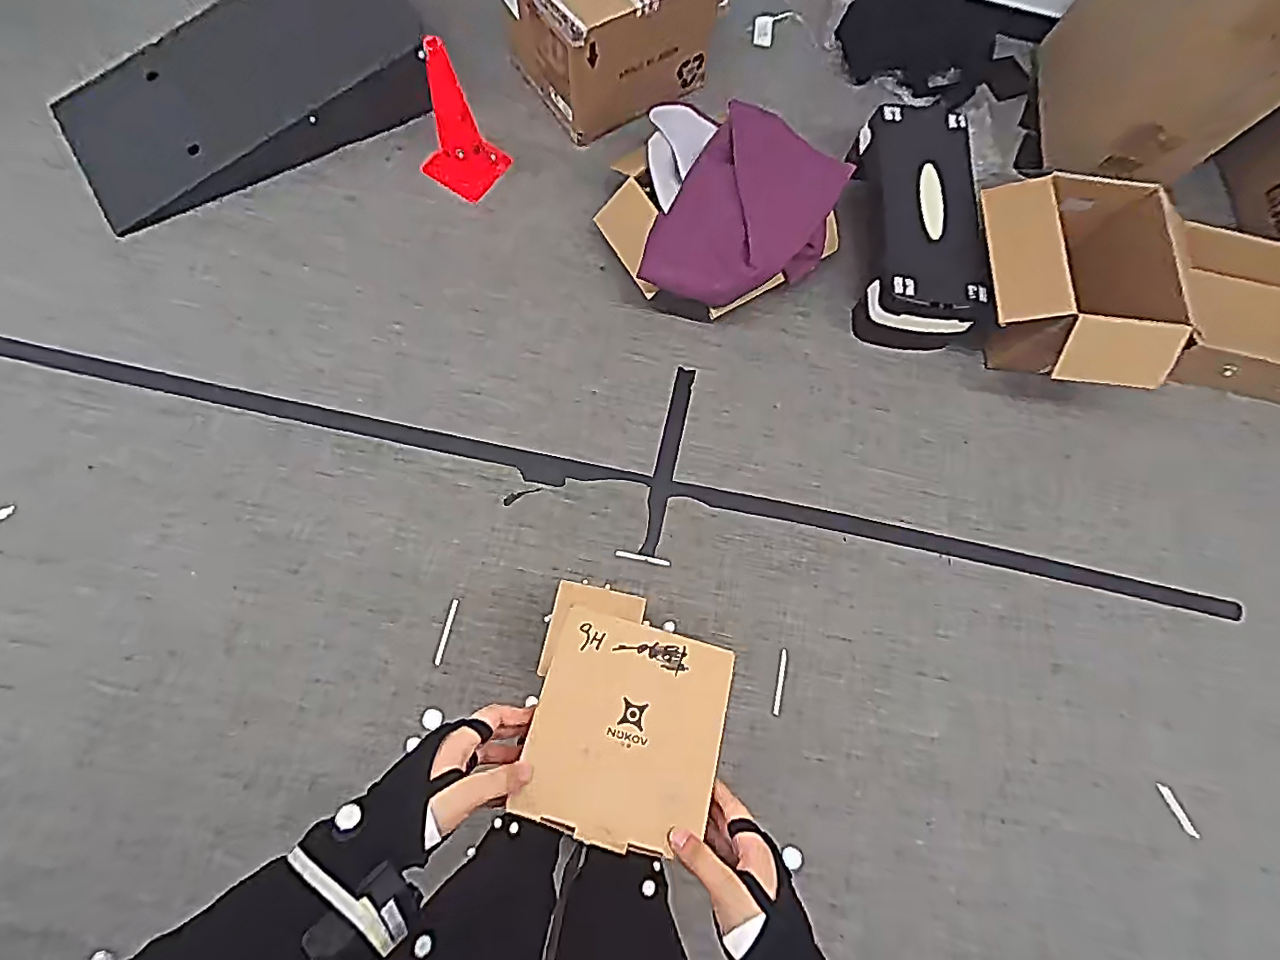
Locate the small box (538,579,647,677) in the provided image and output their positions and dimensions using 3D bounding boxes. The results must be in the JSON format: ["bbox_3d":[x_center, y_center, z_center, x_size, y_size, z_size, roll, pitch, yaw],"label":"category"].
[{"bbox_3d":[-0.090,0.301,1.051,0.168,0.176,0.179,13,75,-1],"label":"small box"}]

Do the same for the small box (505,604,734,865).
[{"bbox_3d":[-0.020,0.246,0.544,0.168,0.176,0.179,17,64,-1],"label":"small box"}]
